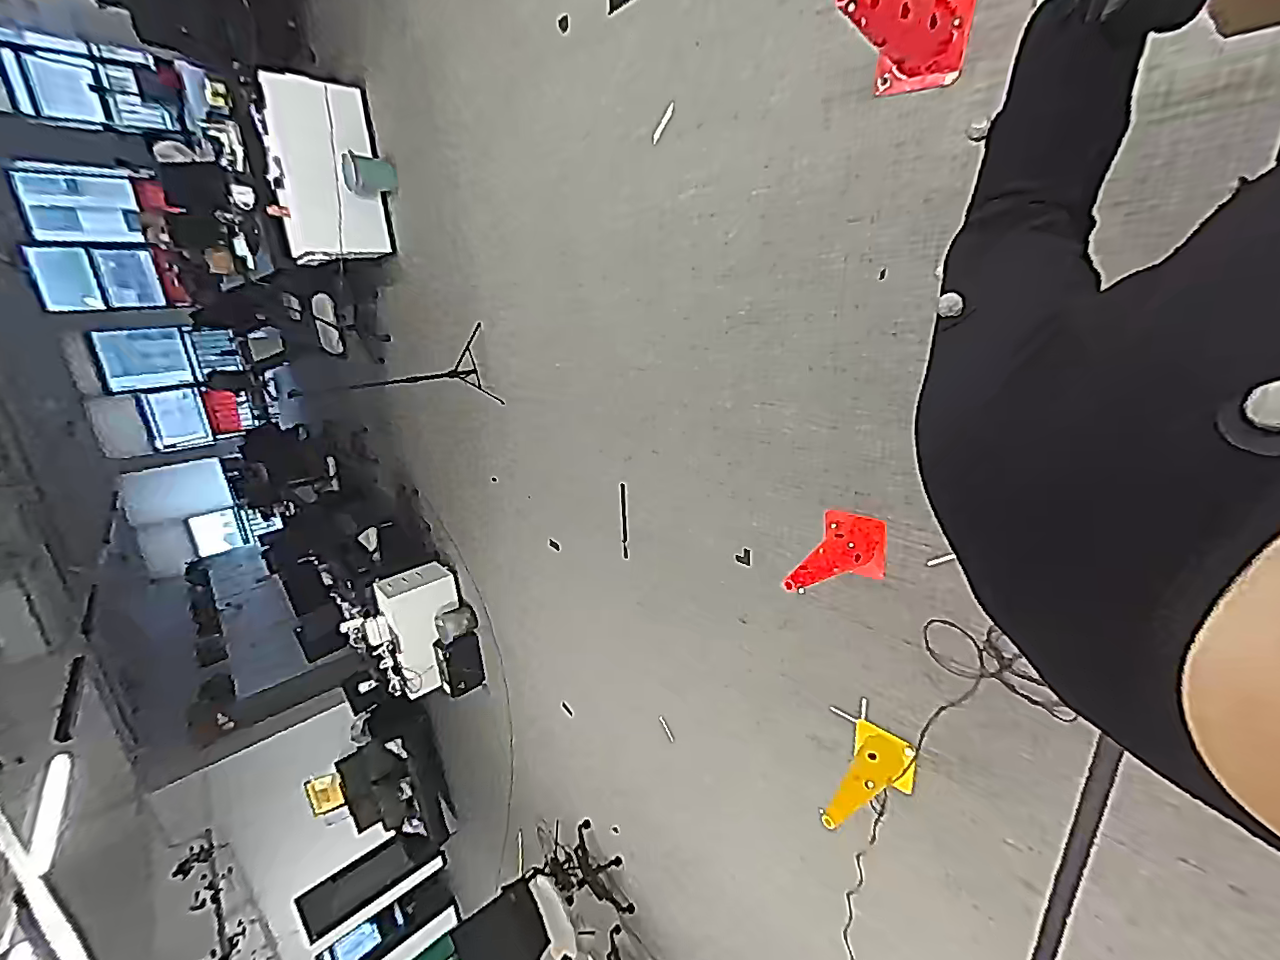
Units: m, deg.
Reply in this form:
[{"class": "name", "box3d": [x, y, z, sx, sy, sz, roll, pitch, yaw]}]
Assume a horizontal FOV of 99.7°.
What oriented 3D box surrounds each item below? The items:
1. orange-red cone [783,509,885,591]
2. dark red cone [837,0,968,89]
[{"class": "orange-red cone", "box3d": [0.542, 0.245, 1.593, 0.198, 0.360, 0.199, 15, 118, 48]}, {"class": "dark red cone", "box3d": [0.498, -0.959, 1.103, 0.201, 0.394, 0.202, 24, 123, 42]}]
